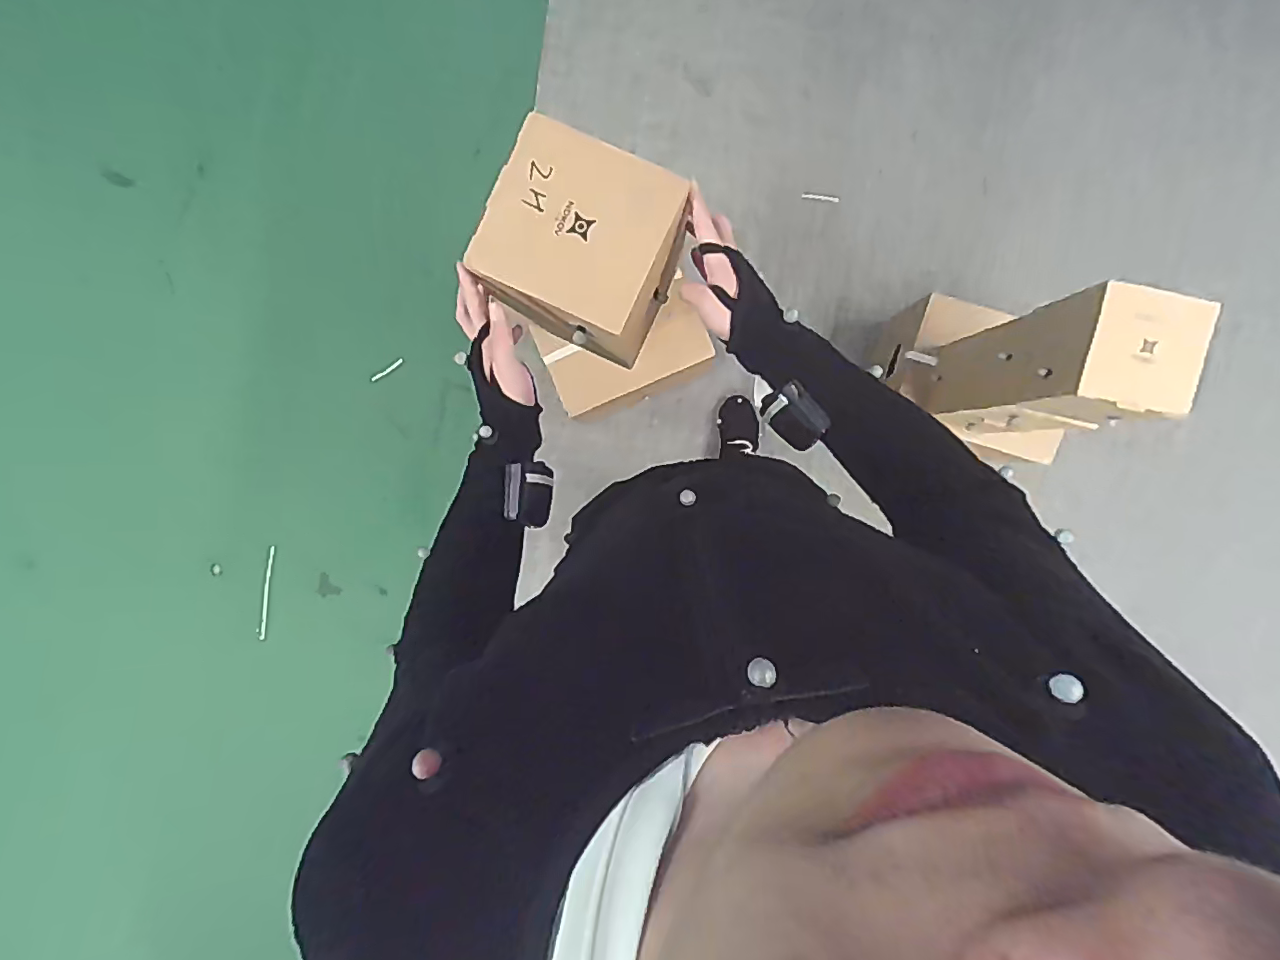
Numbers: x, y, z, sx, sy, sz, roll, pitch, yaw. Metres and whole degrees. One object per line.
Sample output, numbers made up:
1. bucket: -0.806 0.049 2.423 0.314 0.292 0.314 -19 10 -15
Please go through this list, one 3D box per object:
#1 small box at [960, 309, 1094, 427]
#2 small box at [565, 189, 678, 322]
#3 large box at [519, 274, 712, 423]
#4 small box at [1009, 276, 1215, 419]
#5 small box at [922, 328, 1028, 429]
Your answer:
1. small box: 0.751 -0.205 1.037 0.168 0.176 0.179 14 93 3
2. small box: -0.028 -0.428 1.063 0.179 0.176 0.168 -17 92 3
3. large box: -0.051 -0.379 1.478 0.408 0.320 0.320 -24 91 5
4. small box: 0.742 -0.201 0.874 0.168 0.176 0.179 13 93 2
5. small box: 0.757 -0.217 1.199 0.168 0.176 0.179 15 95 2
